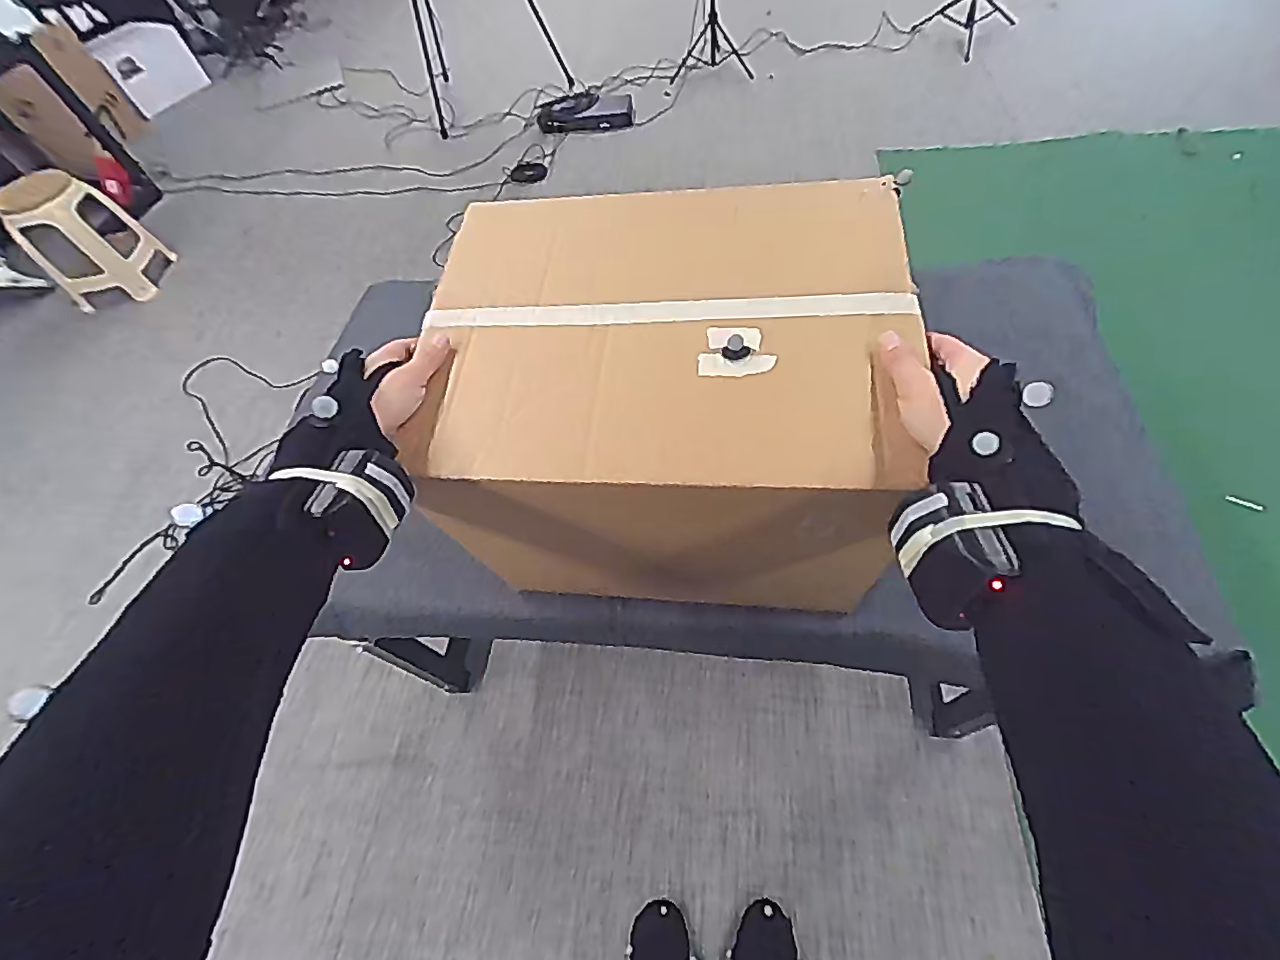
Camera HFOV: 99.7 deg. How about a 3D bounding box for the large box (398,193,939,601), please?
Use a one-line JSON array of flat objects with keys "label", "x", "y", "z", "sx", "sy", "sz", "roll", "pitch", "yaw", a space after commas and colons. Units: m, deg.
[{"label": "large box", "x": 0.034, "y": -0.064, "z": 0.589, "sx": 0.408, "sy": 0.320, "sz": 0.320, "roll": 1, "pitch": 63, "yaw": 9}]
